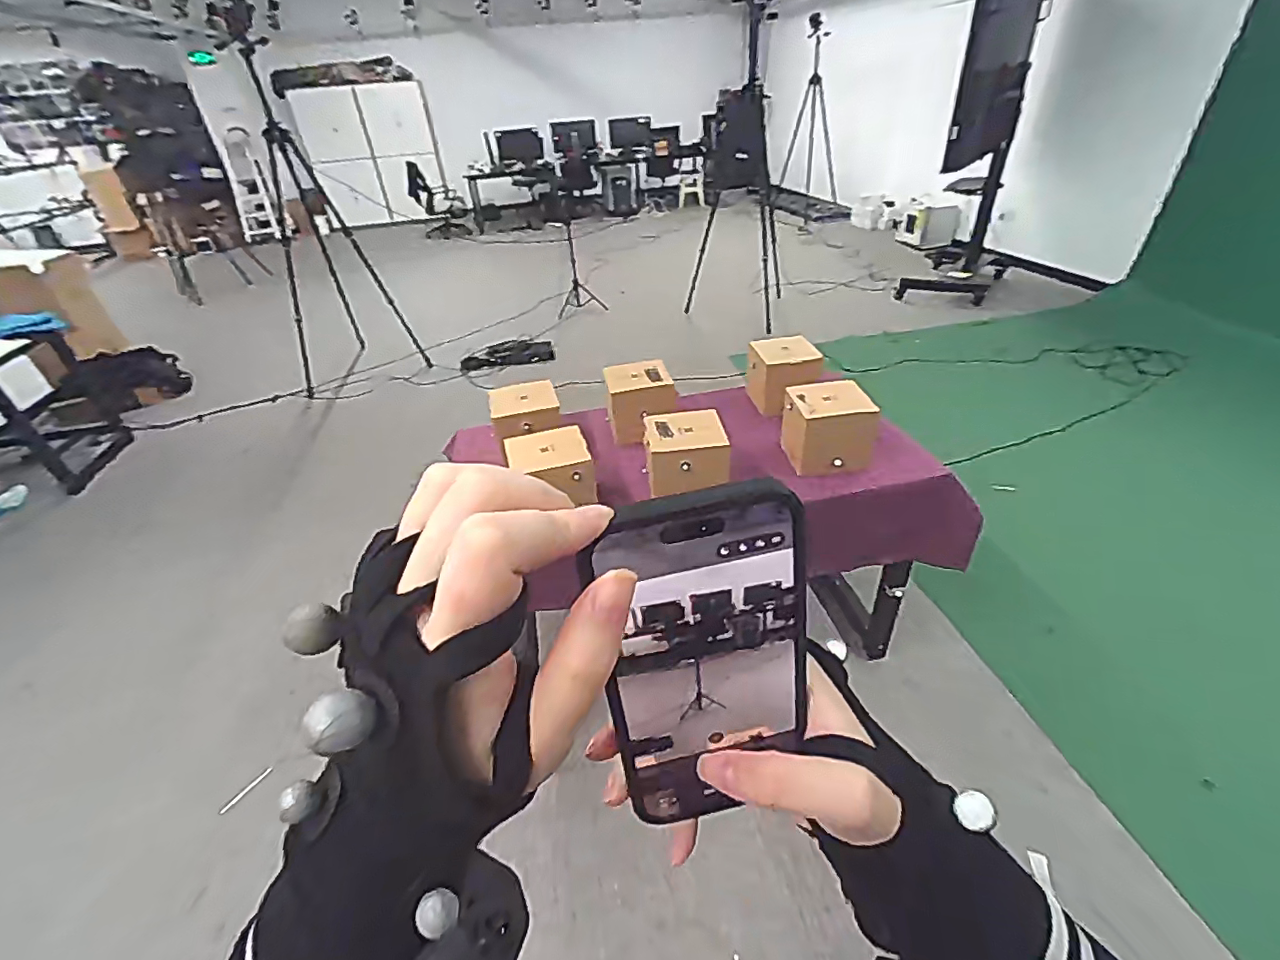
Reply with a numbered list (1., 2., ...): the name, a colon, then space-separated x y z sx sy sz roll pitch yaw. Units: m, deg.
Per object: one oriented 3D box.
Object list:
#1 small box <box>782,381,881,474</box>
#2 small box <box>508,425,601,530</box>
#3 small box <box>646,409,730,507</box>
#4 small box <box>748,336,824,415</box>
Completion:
1. small box: 0.467 -0.130 1.348 0.179 0.176 0.168 -5 35 -1
2. small box: -0.198 -0.005 1.256 0.179 0.176 0.168 -12 36 -12
3. small box: 0.111 -0.049 1.279 0.179 0.176 0.168 -5 36 -2
4. small box: 0.424 -0.310 1.601 0.168 0.176 0.179 -8 37 -3
